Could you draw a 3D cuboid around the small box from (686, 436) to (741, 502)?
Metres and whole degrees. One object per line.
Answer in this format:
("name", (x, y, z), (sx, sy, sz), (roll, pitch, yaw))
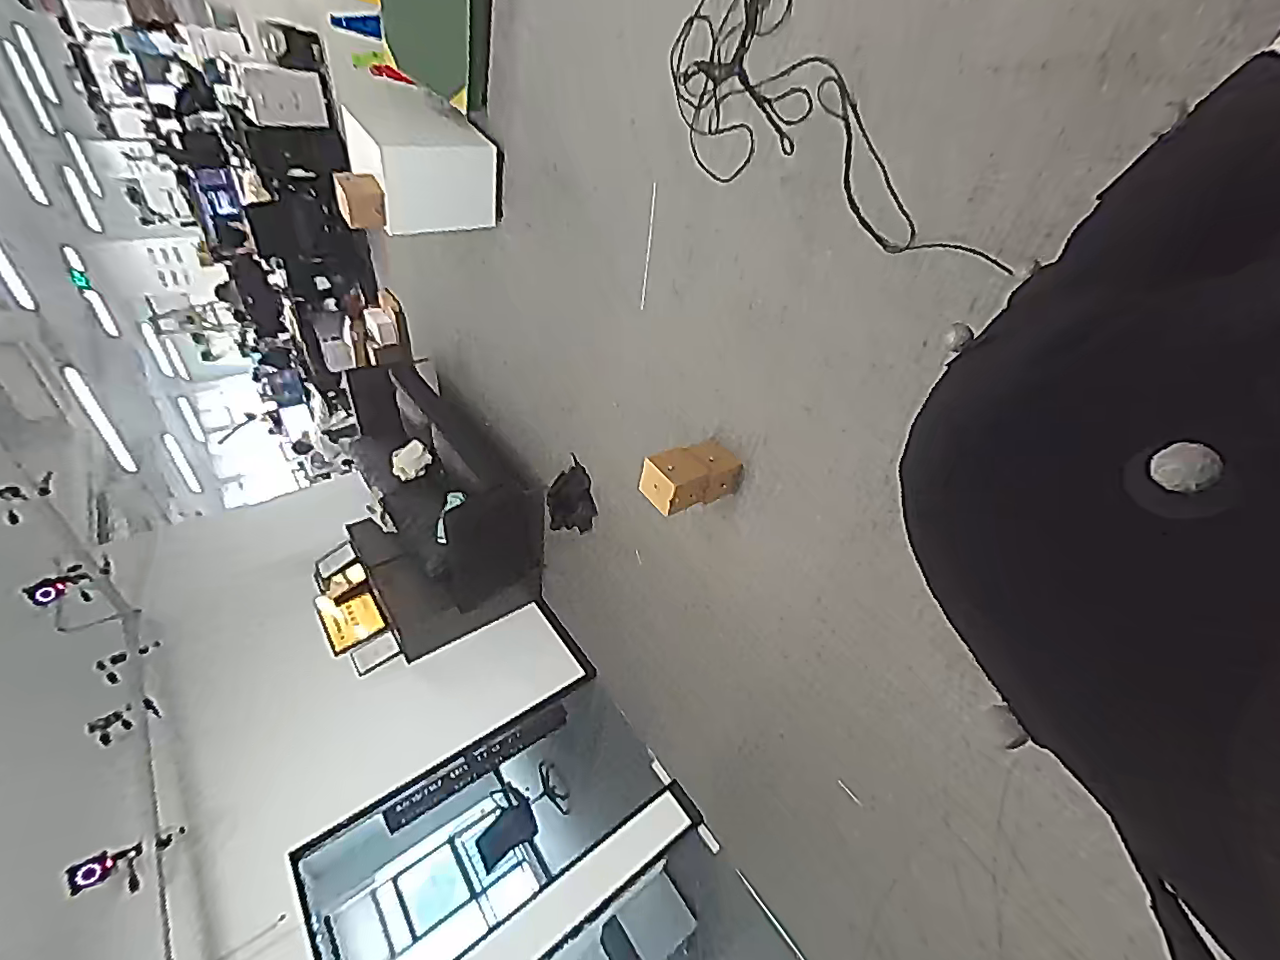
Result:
("small box", (0.264, -0.050, 2.102), (0.179, 0.176, 0.168), (45, 142, 31))

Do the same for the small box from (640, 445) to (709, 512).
("small box", (0.129, -0.014, 2.016), (0.179, 0.176, 0.168), (45, 142, 31))
